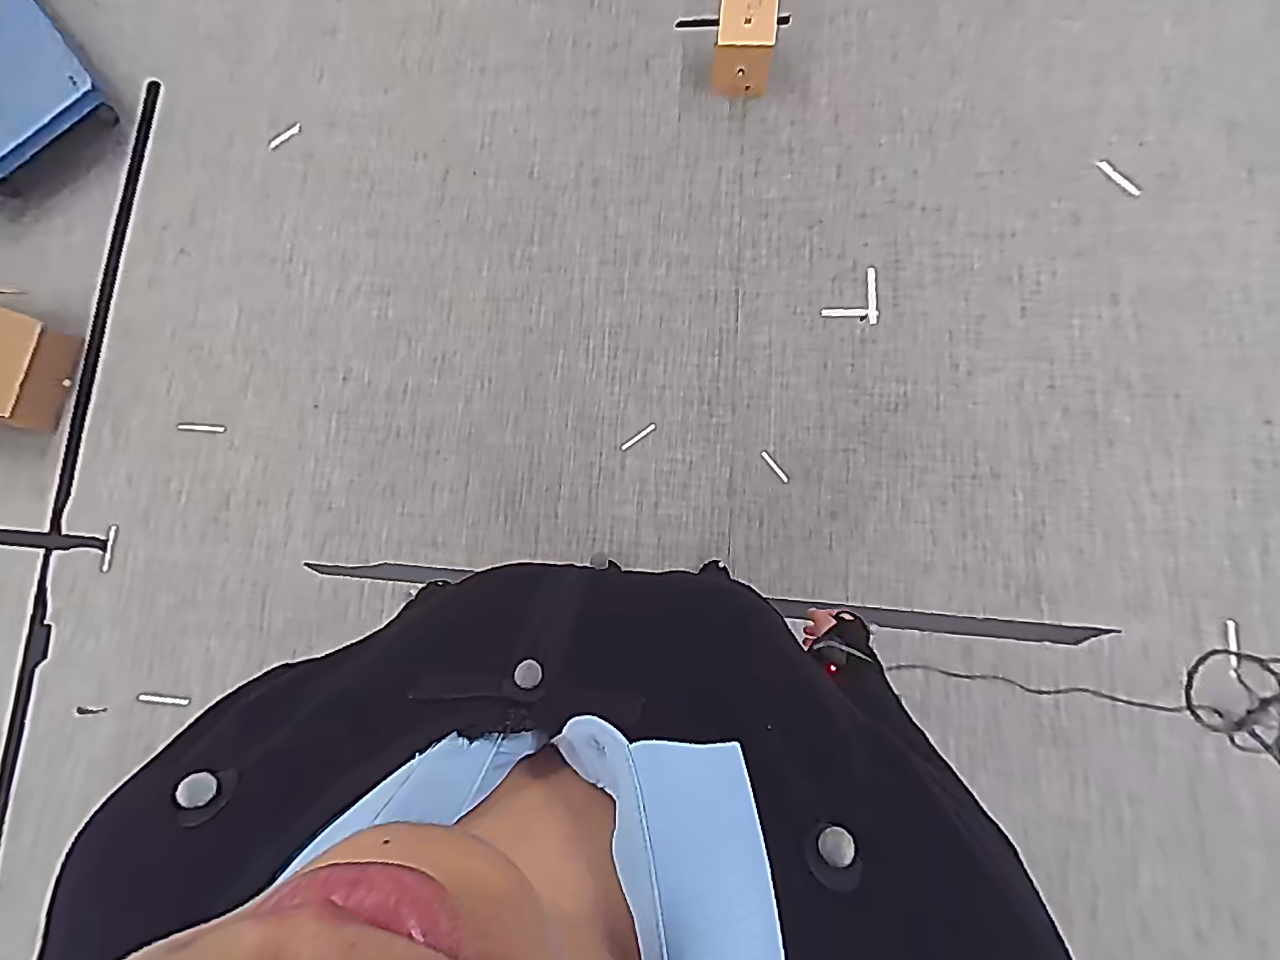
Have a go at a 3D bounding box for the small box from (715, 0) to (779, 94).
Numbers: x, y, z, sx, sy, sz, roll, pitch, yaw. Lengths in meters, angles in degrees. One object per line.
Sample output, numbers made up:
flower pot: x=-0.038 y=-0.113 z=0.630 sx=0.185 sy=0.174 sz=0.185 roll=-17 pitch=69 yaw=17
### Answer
small box: x=0.319 y=-1.314 z=1.638 sx=0.168 sy=0.176 sz=0.179 roll=6 pitch=82 yaw=5
